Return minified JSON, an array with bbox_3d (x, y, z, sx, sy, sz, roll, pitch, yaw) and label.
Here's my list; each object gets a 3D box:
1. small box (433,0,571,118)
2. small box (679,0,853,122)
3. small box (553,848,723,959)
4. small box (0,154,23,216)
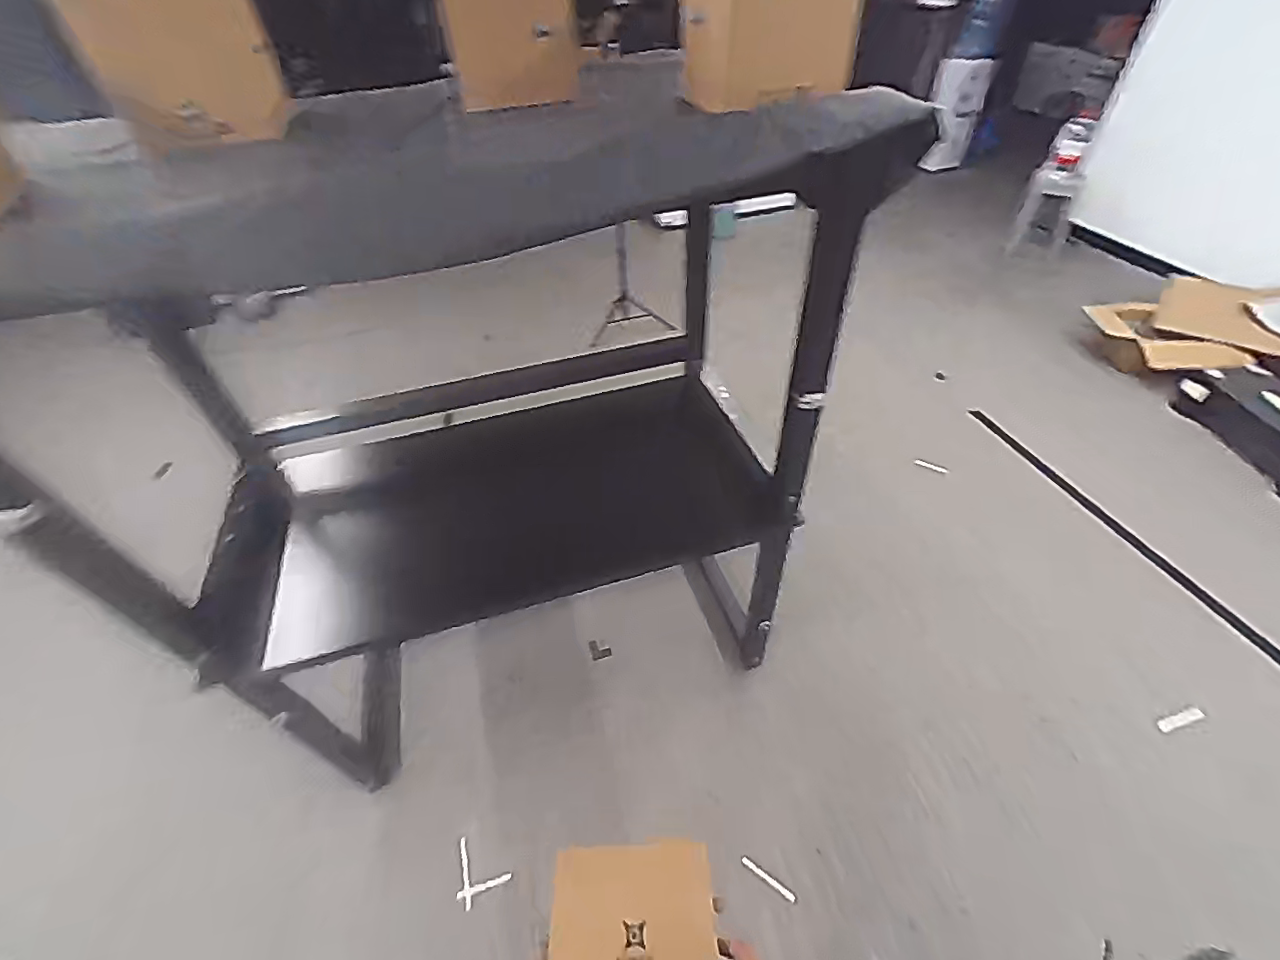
[{"bbox_3d":[-0.203,-0.659,0.802,0.179,0.176,0.168,-13,45,-9],"label":"small box"},{"bbox_3d":[0.148,-0.573,0.688,0.168,0.176,0.179,-12,45,-7],"label":"small box"},{"bbox_3d":[-0.003,0.517,0.566,0.168,0.176,0.179,0,37,0],"label":"small box"},{"bbox_3d":[-0.754,-0.320,0.502,0.168,0.176,0.179,-21,49,-17],"label":"small box"}]
